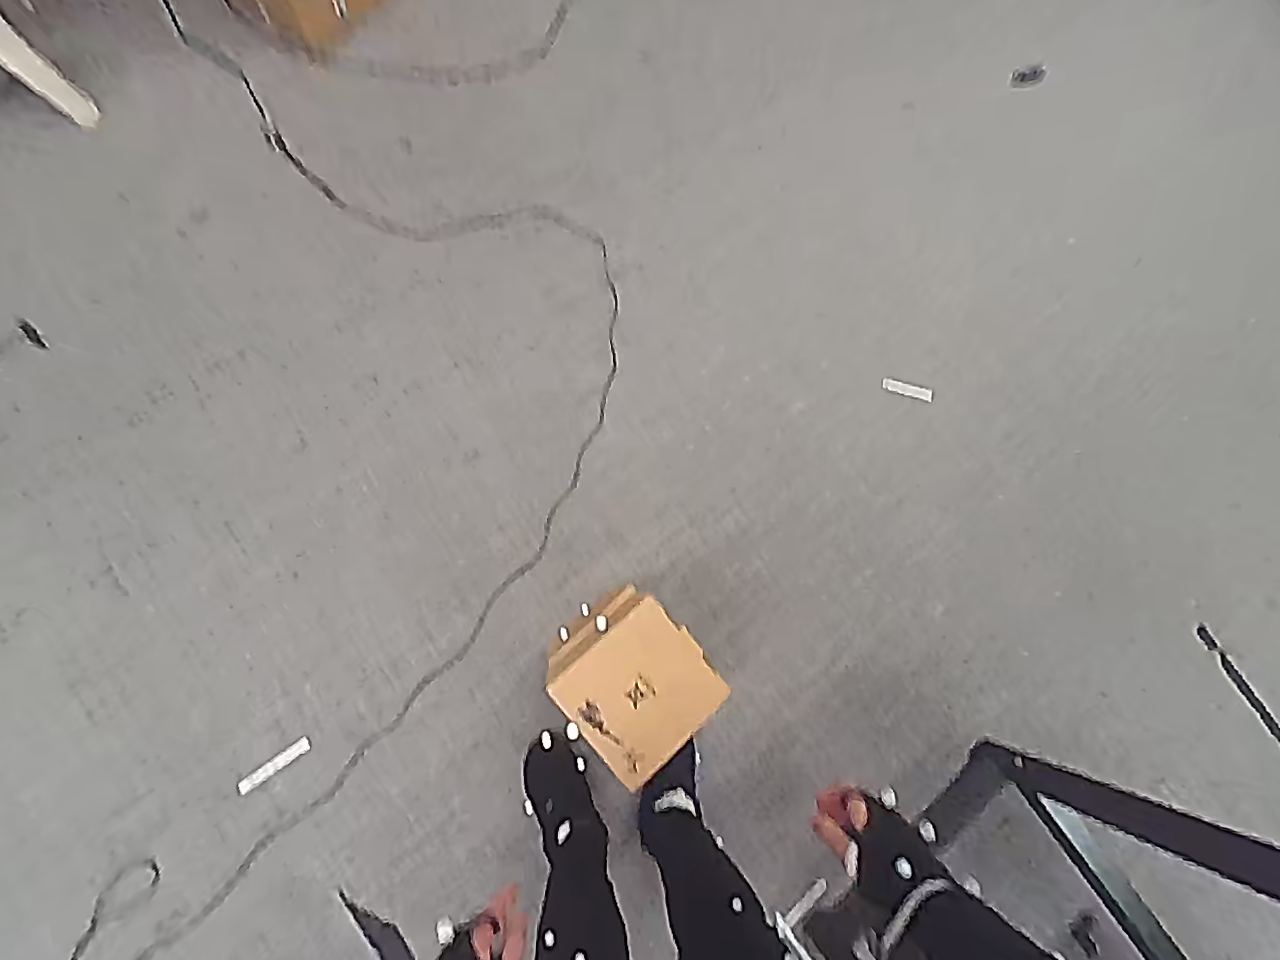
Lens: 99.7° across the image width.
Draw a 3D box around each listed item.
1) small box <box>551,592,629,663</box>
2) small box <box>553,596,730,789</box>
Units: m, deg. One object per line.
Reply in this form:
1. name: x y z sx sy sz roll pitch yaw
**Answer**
1. small box: -0.063 0.339 1.079 0.179 0.176 0.168 -39 86 -13
2. small box: -0.009 0.281 0.762 0.179 0.176 0.168 -40 86 -15
